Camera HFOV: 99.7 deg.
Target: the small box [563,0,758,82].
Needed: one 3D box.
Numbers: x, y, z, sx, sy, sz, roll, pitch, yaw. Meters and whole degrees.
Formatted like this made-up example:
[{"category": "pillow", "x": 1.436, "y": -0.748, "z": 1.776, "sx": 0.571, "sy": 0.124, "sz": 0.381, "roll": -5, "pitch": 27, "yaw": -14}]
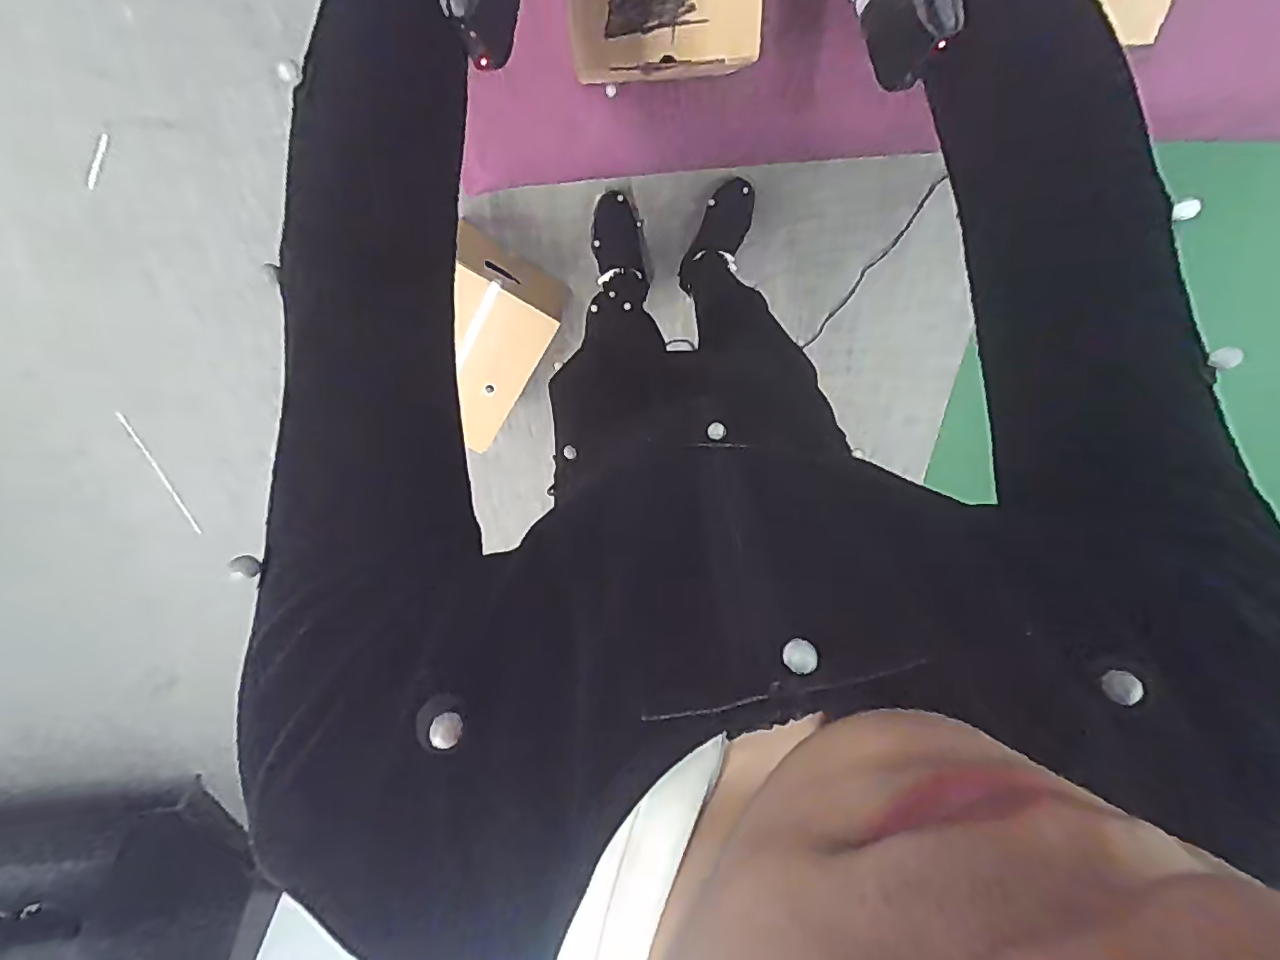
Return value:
[{"category": "small box", "x": 0.013, "y": -0.476, "z": 0.493, "sx": 0.168, "sy": 0.176, "sz": 0.179, "roll": -5, "pitch": 123, "yaw": 0}]
